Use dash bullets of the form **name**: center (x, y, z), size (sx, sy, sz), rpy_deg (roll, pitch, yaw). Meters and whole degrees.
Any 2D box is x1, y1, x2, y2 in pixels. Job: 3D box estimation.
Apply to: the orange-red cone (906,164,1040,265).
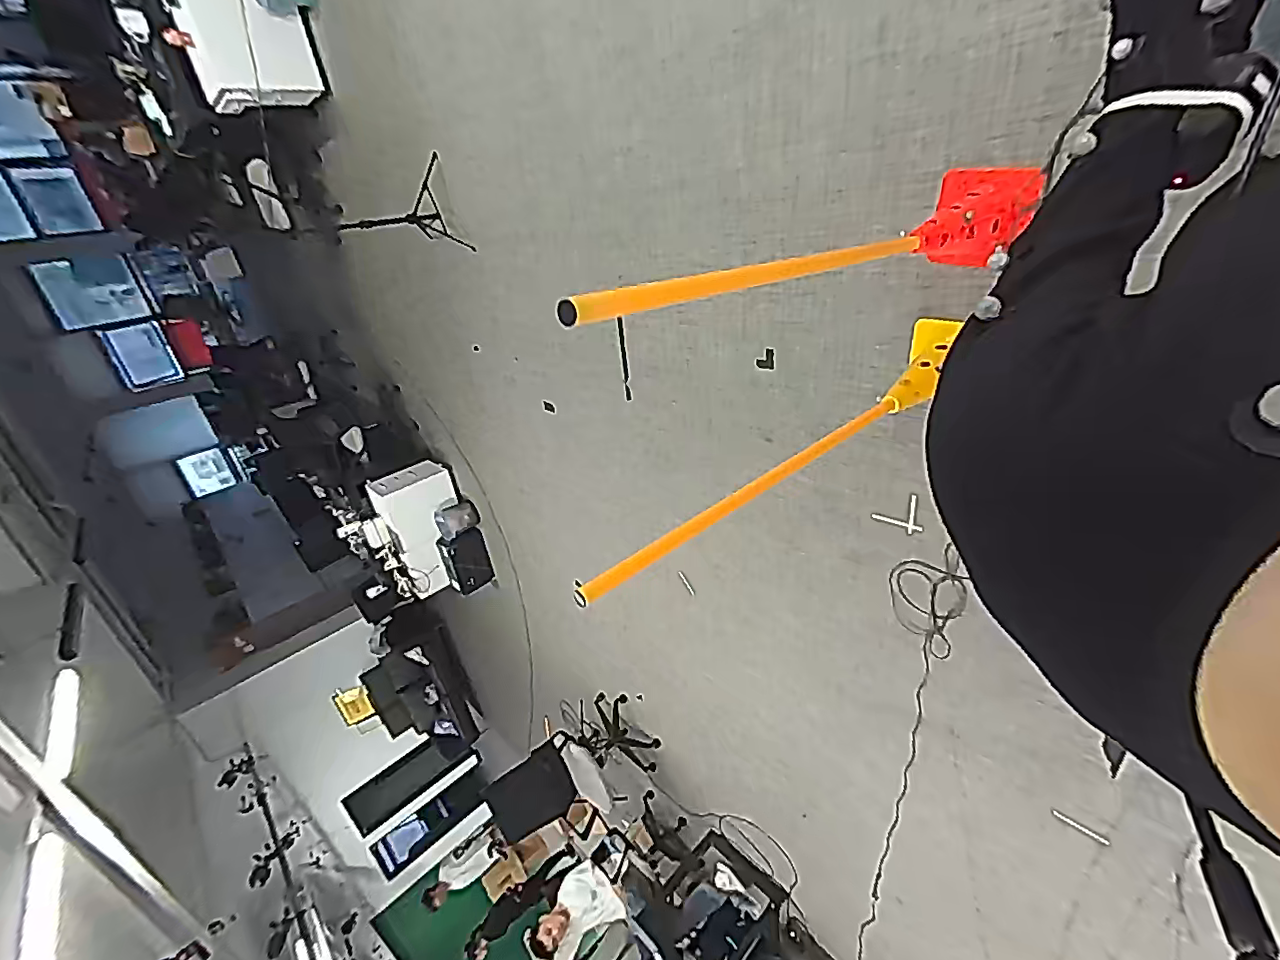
- **orange-red cone**: center (0.636, -0.529, 1.111), size (0.198, 0.360, 0.199), rpy_deg (27, 132, 37)
